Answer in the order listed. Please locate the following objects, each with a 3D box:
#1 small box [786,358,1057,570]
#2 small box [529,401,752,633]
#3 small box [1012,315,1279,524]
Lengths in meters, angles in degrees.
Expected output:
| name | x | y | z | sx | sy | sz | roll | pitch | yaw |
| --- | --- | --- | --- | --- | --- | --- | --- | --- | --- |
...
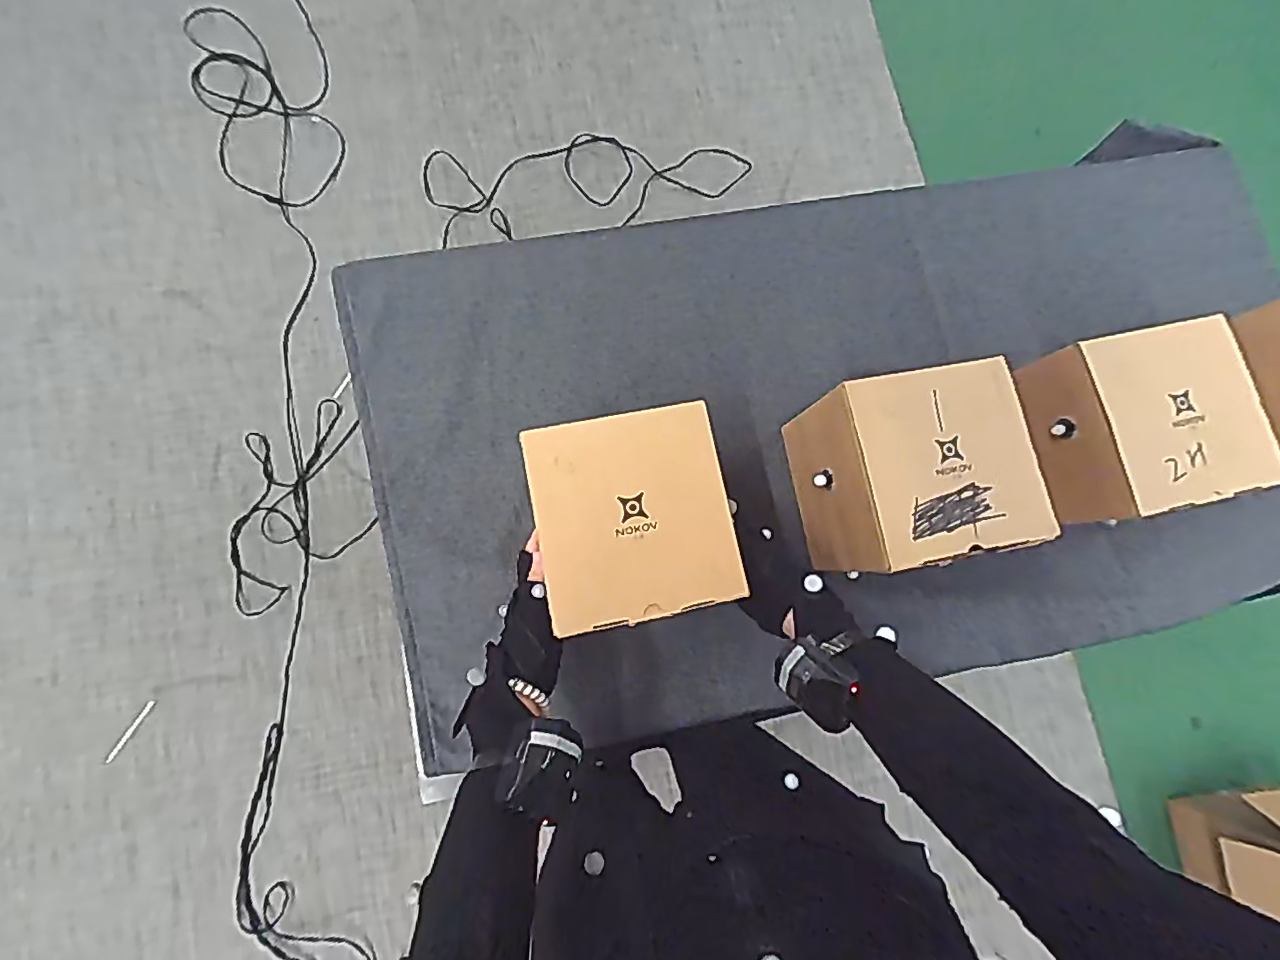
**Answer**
| name | x | y | z | sx | sy | sz | roll | pitch | yaw |
| --- | --- | --- | --- | --- | --- | --- | --- | --- | --- |
| small box | 0.272 | -0.006 | 0.565 | 0.168 | 0.176 | 0.179 | -10 | 81 | -7 |
| small box | -0.010 | 0.041 | 0.533 | 0.168 | 0.176 | 0.179 | -11 | 81 | -8 |
| small box | 0.509 | -0.052 | 0.593 | 0.168 | 0.176 | 0.179 | -12 | 82 | -6 |
